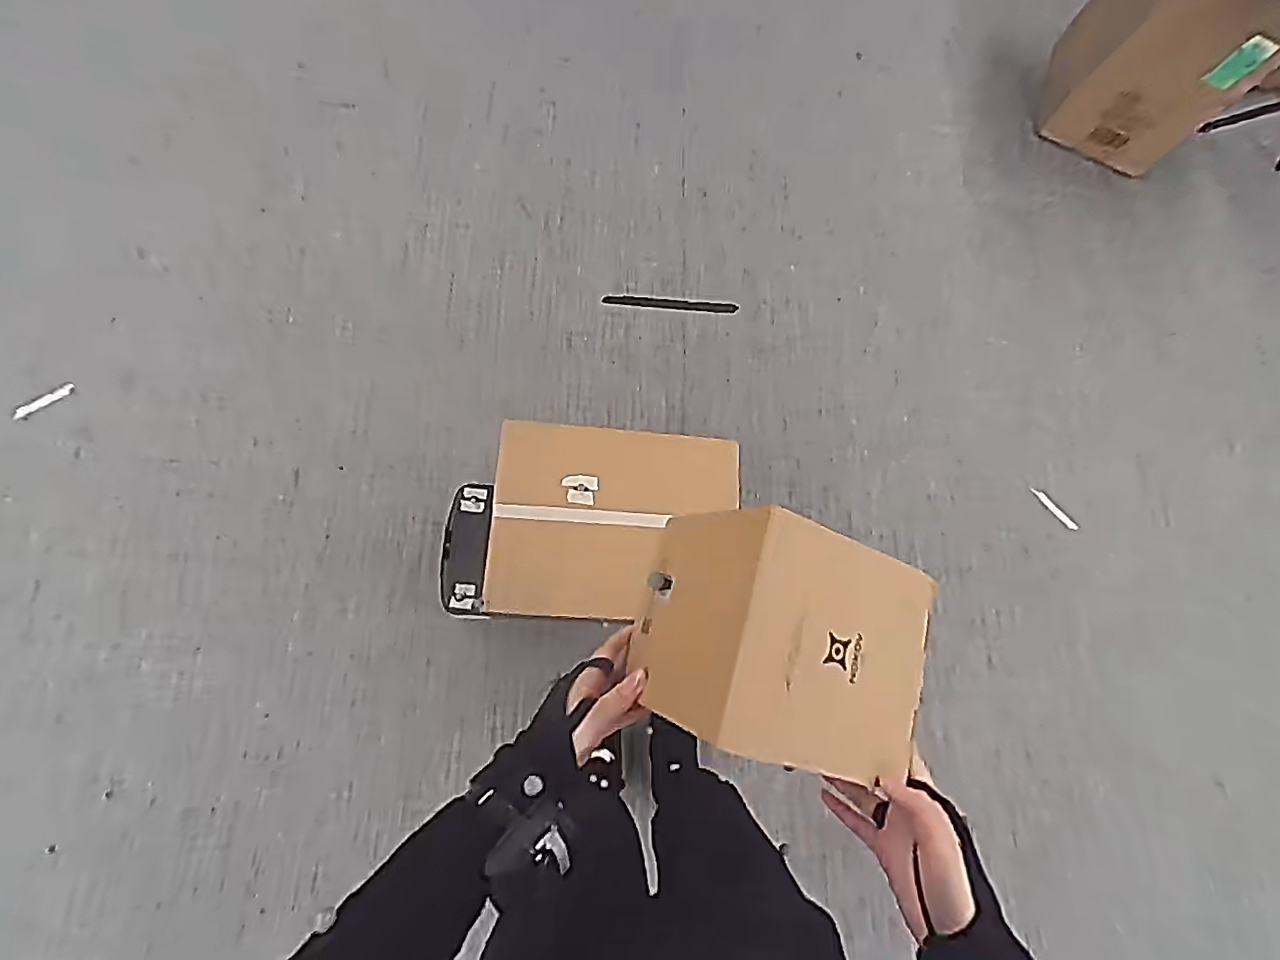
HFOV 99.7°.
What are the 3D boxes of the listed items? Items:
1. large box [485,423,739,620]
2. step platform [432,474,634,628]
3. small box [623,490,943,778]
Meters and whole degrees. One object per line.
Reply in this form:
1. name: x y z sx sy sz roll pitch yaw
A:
1. large box: -0.046 0.099 1.014 0.408 0.320 0.320 4 75 -5
2. step platform: -0.105 0.182 1.234 0.684 0.204 0.286 9 75 -4
3. small box: 0.112 0.121 0.456 0.179 0.176 0.168 24 73 -20
